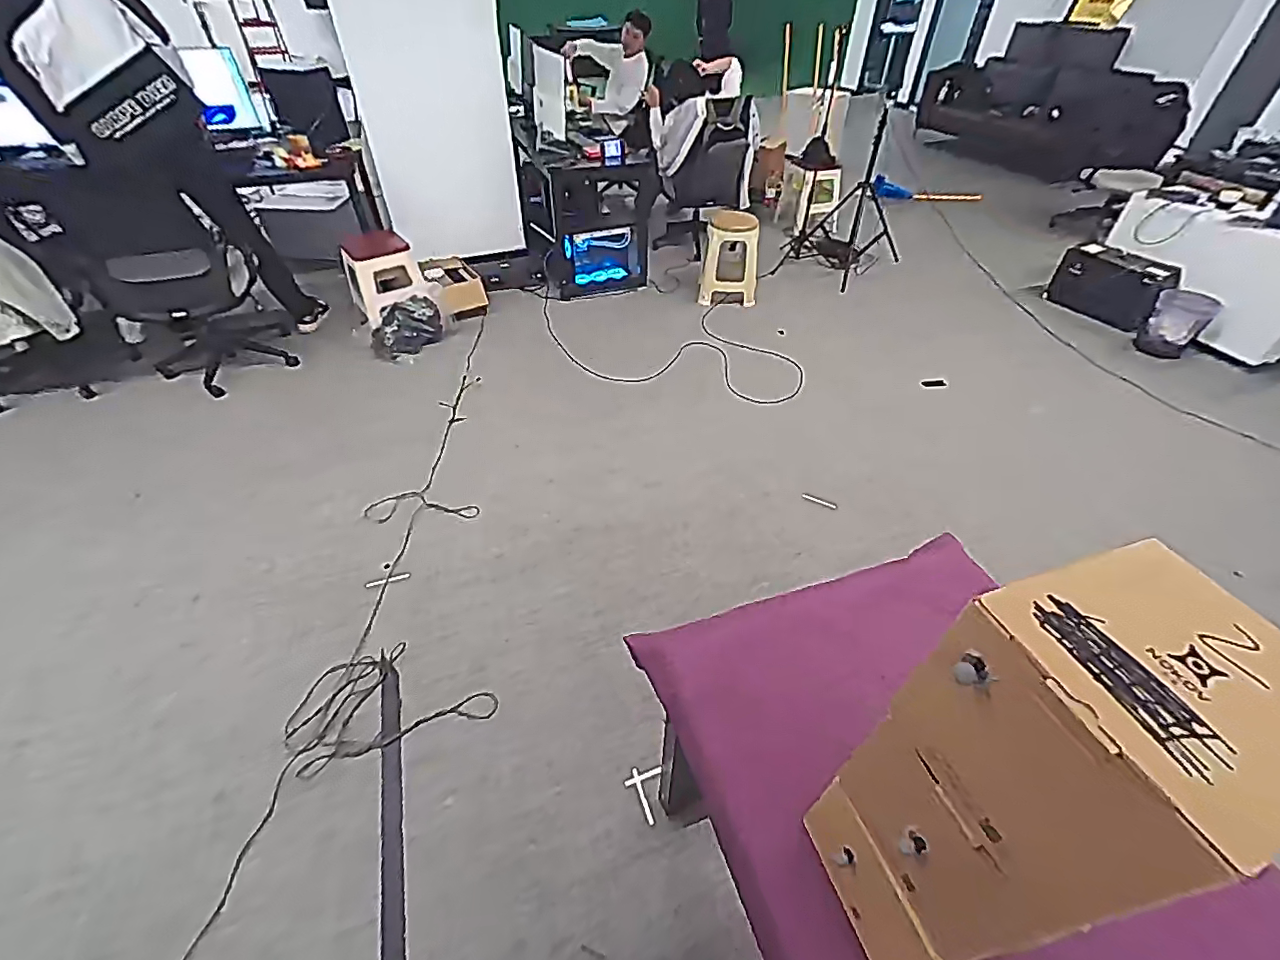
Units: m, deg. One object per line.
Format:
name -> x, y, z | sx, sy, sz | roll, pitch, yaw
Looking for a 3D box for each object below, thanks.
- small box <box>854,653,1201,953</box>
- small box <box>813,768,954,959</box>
small box -> 0.325, 0.298, 0.502 | 0.179, 0.176, 0.168 | -14, 46, -16
small box -> 0.317, 0.419, 0.612 | 0.179, 0.176, 0.168 | -12, 45, -15
